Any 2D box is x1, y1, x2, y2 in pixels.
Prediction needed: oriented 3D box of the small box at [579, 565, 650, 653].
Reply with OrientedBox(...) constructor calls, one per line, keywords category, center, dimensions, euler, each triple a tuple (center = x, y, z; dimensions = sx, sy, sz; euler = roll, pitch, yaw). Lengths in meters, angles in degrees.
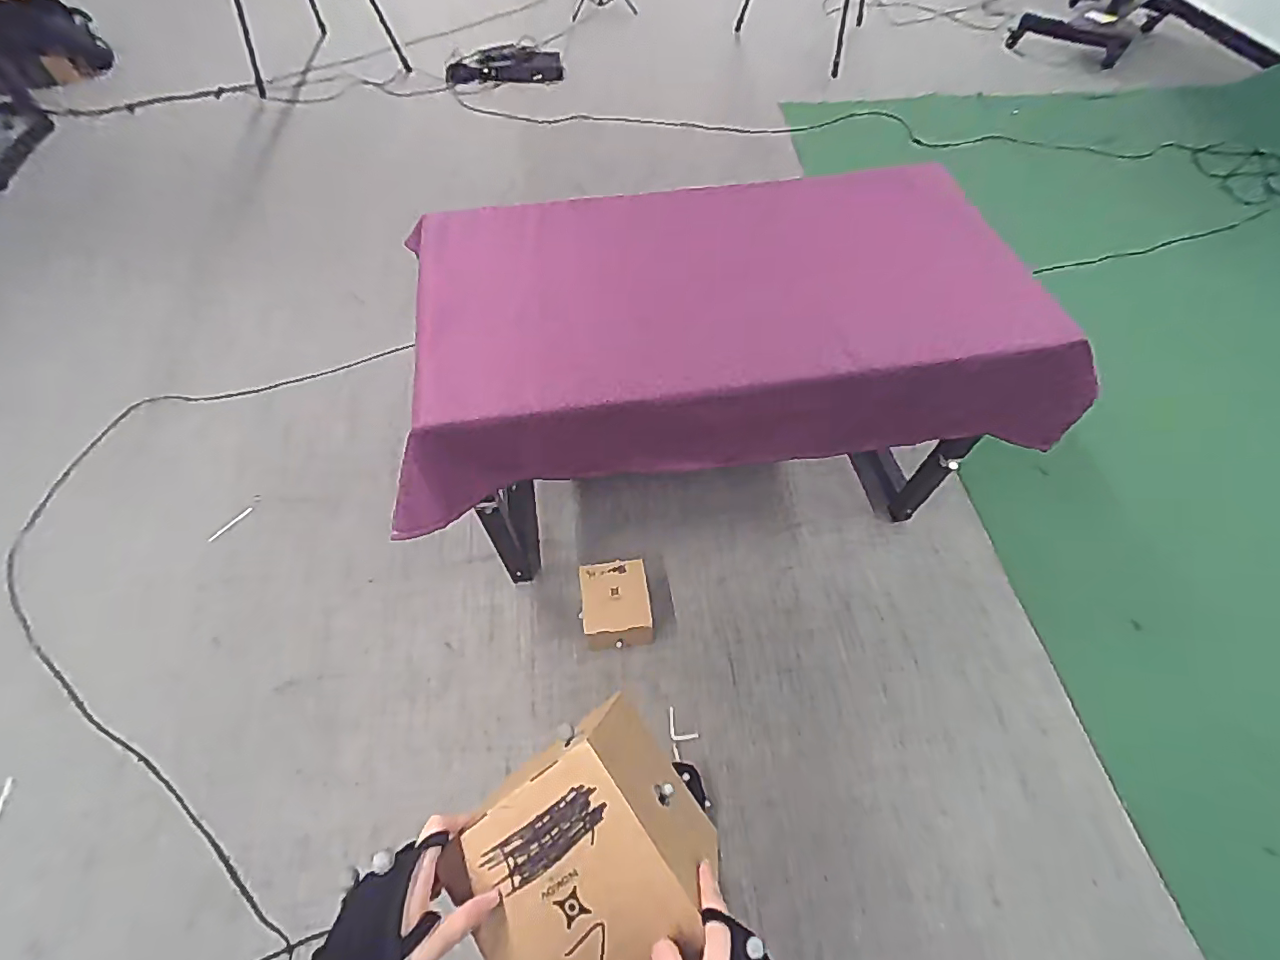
OrientedBox(category="small box", center=(-0.063, 0.338, 1.390), dimensions=(0.168, 0.176, 0.179), euler=(-6, 59, -4))
